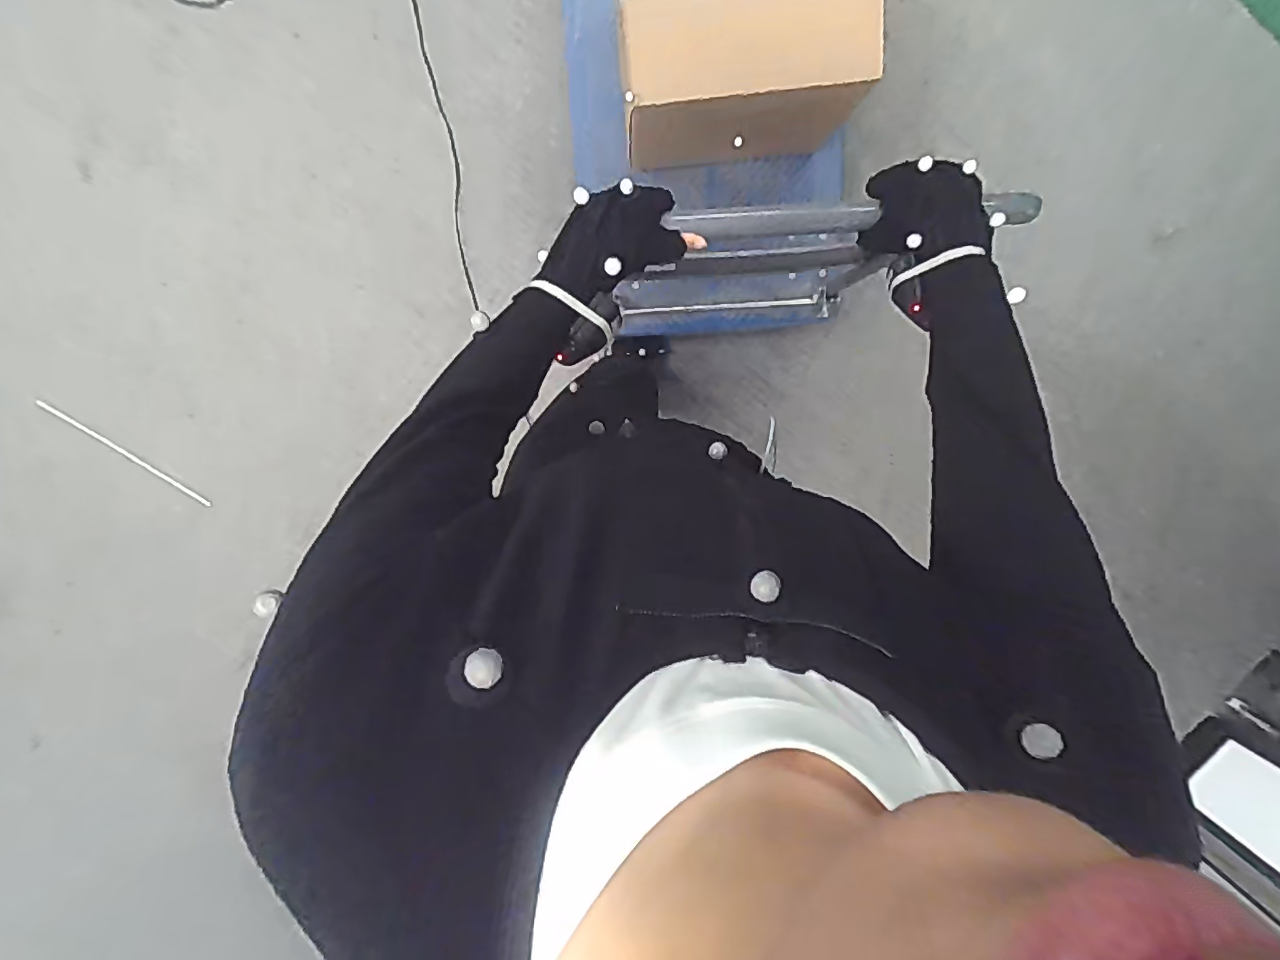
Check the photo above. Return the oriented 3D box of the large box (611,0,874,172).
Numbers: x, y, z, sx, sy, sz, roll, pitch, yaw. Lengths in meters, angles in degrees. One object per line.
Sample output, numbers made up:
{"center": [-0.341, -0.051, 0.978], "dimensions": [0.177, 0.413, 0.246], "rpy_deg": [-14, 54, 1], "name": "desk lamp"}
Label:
{"center": [0.162, -0.798, 0.988], "dimensions": [0.408, 0.320, 0.320], "rpy_deg": [-7, 102, 0], "name": "large box"}
